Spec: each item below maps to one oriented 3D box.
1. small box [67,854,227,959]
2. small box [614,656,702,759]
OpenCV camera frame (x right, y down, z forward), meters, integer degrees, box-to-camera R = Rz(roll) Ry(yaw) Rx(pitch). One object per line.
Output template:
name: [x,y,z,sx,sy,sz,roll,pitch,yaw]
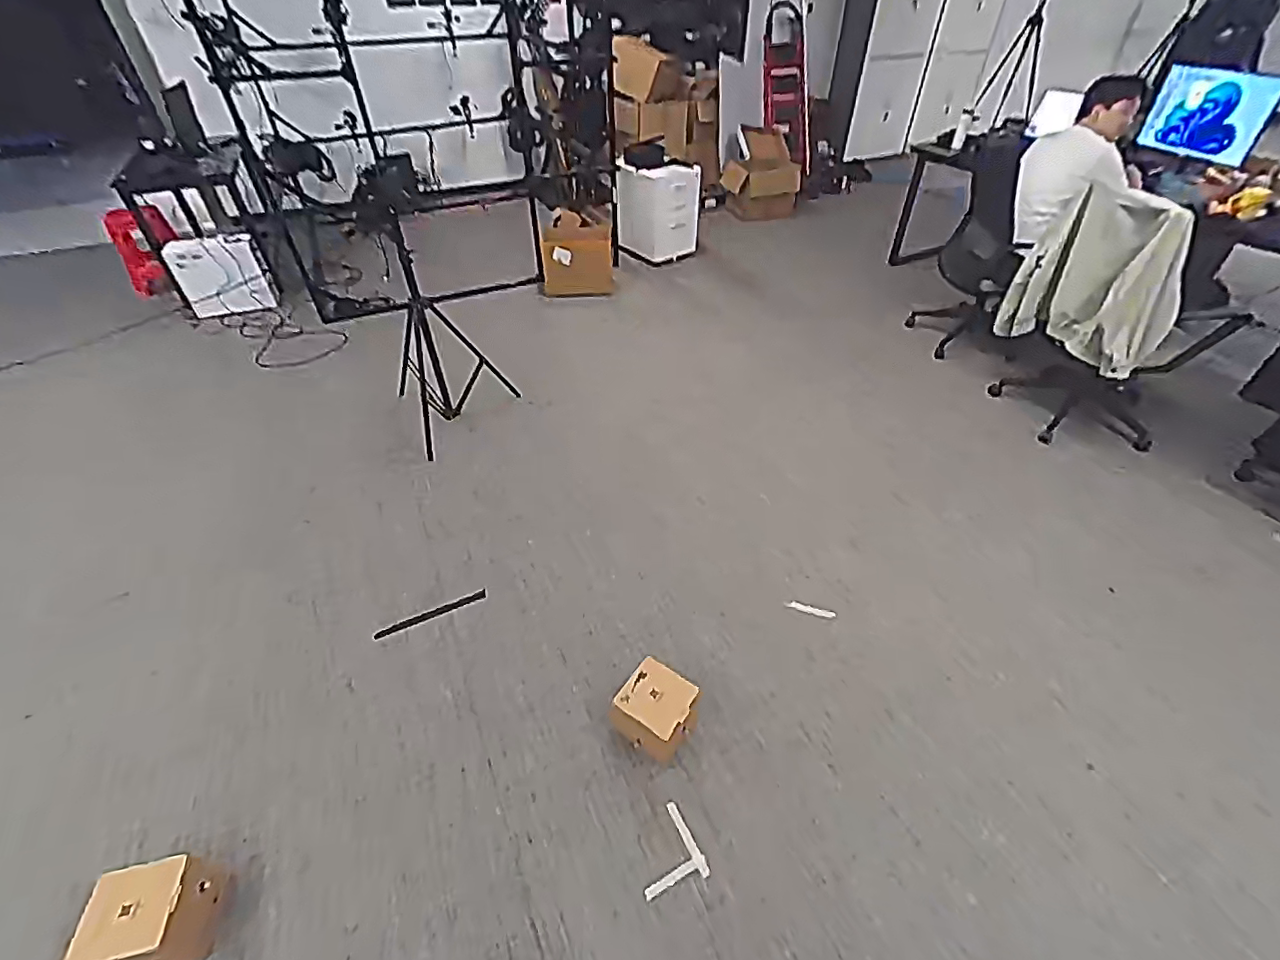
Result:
small box: [-1.027,0.929,1.144,0.179,0.176,0.168,-10,41,-9]
small box: [0.047,0.620,1.461,0.179,0.176,0.168,26,49,26]
